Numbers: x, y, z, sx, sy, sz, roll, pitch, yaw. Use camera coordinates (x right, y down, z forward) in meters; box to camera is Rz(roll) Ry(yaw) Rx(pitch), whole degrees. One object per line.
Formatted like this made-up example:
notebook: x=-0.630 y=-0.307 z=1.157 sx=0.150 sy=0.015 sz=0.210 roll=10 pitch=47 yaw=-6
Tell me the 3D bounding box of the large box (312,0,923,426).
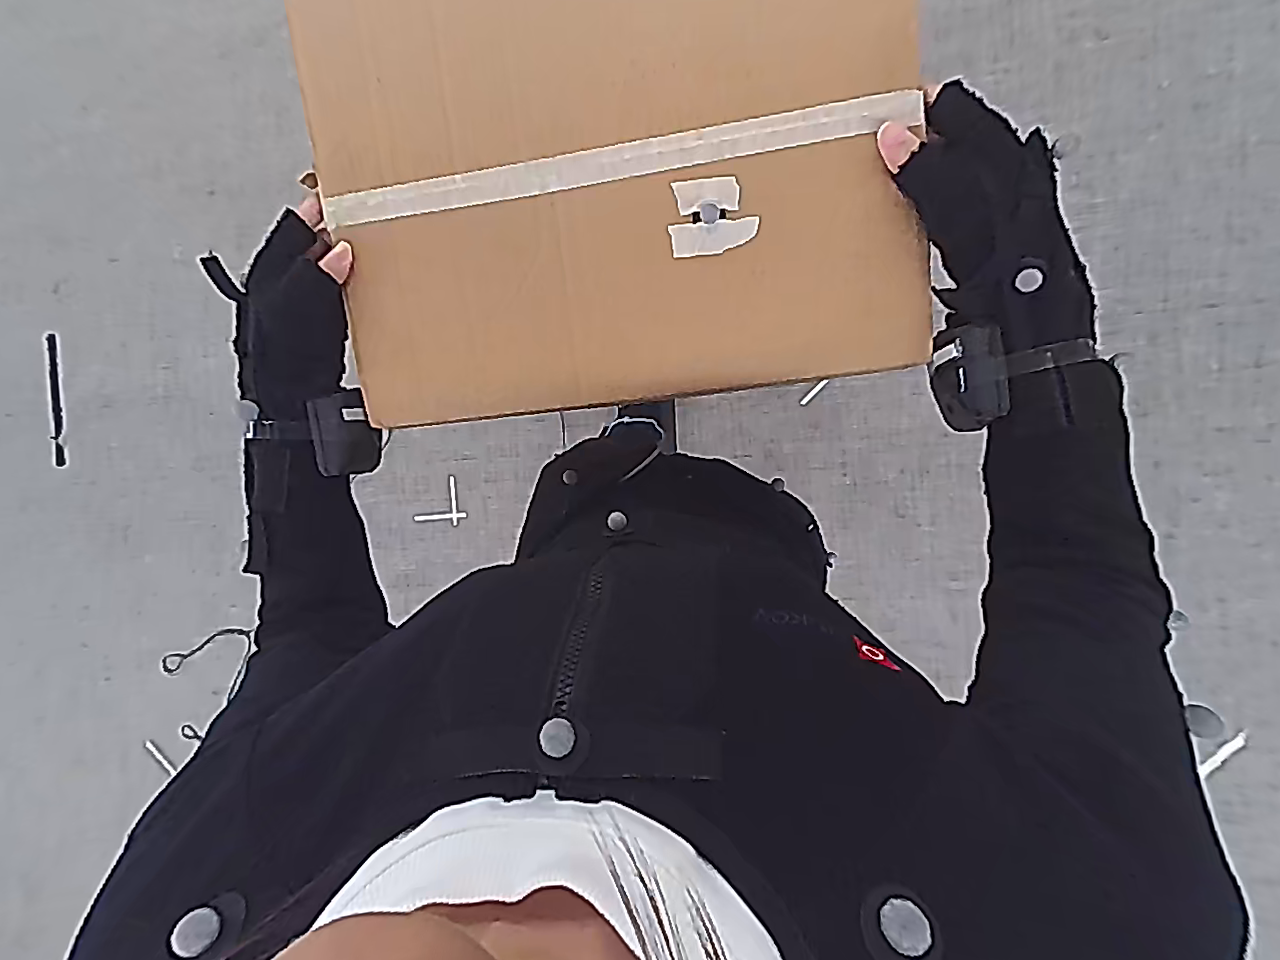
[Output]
large box: x=-0.005 y=-0.238 z=0.524 sx=0.408 sy=0.320 sz=0.320 roll=-6 pitch=99 yaw=7
